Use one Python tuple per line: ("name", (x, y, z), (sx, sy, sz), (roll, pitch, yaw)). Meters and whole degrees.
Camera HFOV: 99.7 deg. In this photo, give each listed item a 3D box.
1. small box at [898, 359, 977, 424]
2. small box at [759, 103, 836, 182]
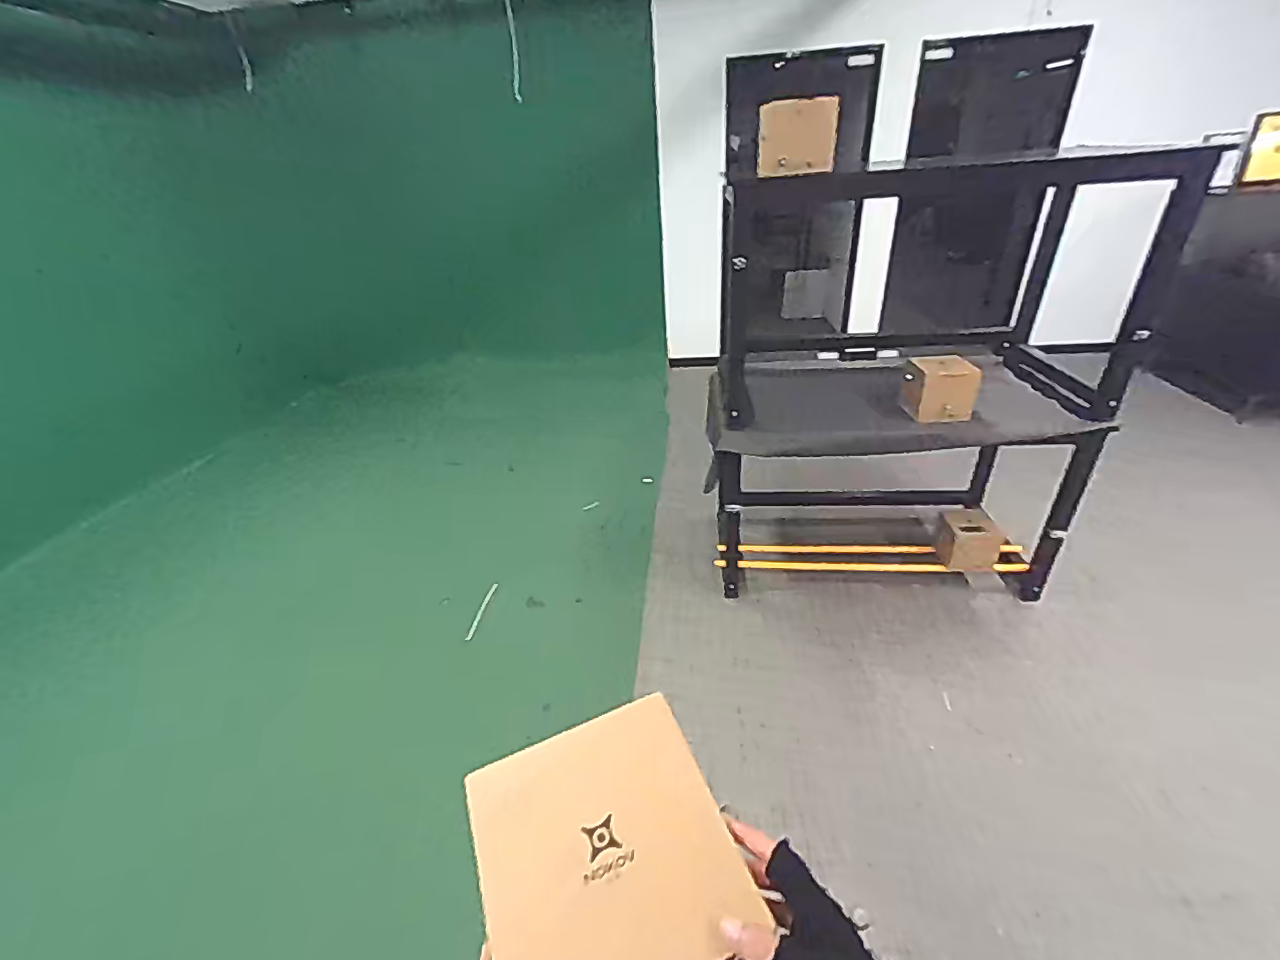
("small box", (0.977, -0.295, 1.795), (0.168, 0.176, 0.179), (-2, 30, 4))
("small box", (0.426, -0.923, 1.488), (0.168, 0.176, 0.179), (-2, 30, 2))
